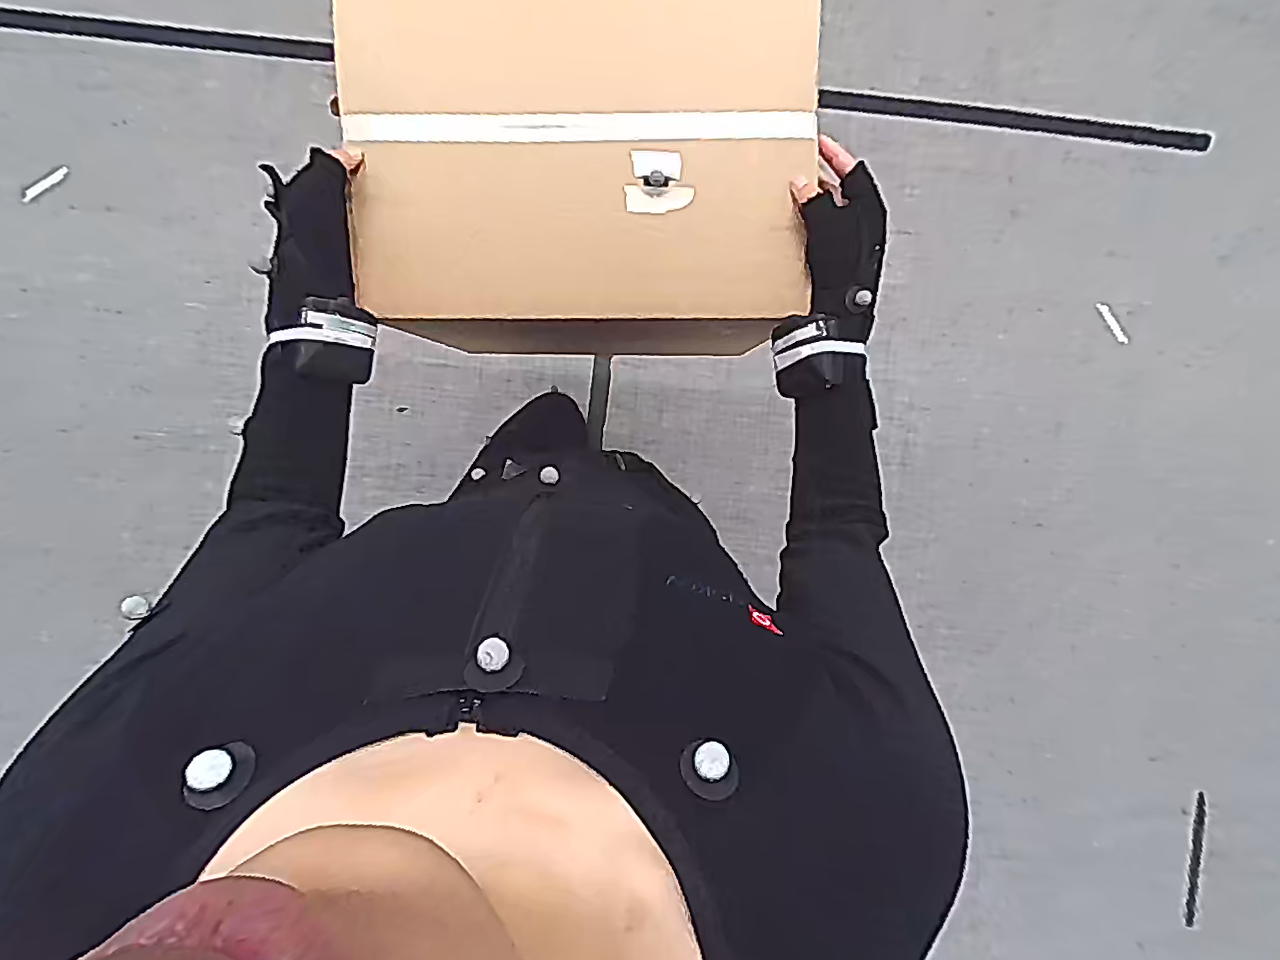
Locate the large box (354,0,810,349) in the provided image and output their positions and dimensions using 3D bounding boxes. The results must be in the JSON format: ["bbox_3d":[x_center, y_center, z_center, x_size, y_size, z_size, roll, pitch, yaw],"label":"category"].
[{"bbox_3d":[-0.051,-0.330,0.628,0.408,0.320,0.320,0,98,-1],"label":"large box"}]
